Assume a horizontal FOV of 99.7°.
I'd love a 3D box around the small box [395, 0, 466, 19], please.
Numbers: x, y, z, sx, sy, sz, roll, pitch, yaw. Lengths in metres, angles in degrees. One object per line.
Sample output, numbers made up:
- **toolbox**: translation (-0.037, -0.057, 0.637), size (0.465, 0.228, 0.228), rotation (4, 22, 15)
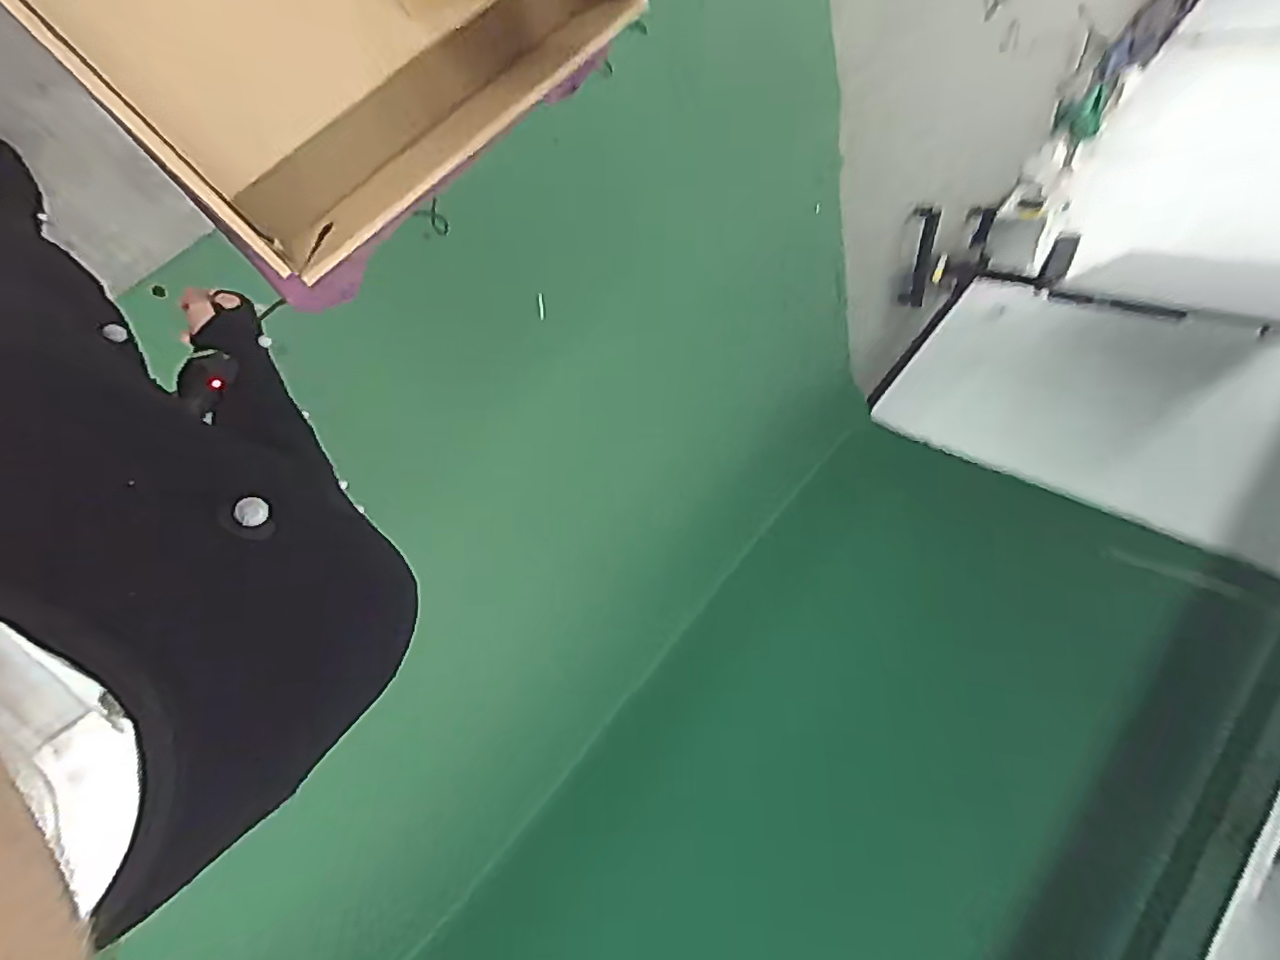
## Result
- **small box**: translation (-0.211, -0.645, 0.590), size (0.179, 0.176, 0.168), rotation (-46, 139, -15)
